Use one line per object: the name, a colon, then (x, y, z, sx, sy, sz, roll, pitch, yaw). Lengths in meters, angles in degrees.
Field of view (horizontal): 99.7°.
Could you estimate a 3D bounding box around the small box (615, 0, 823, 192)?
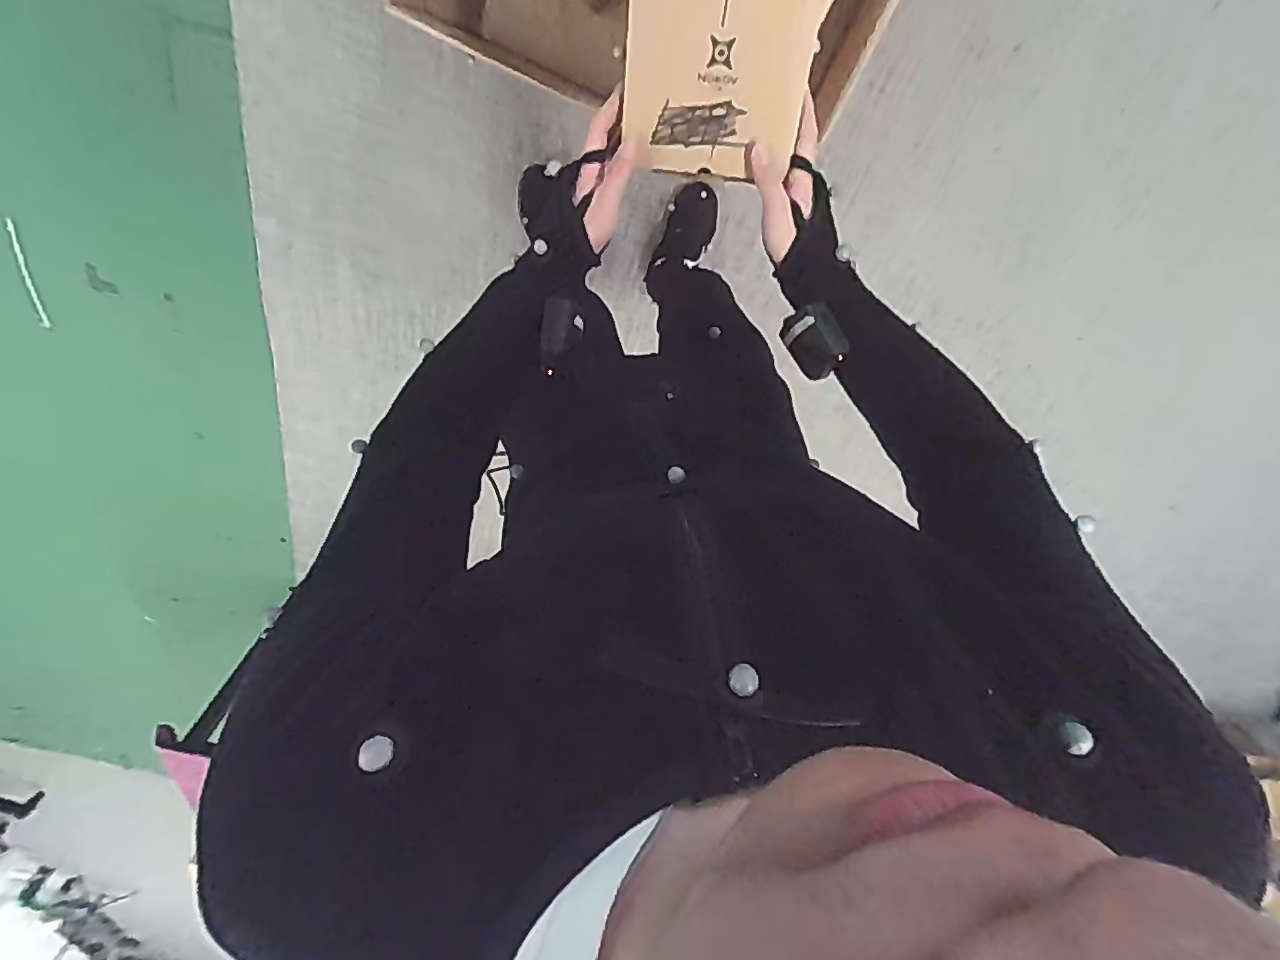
small box: (0.066, -0.401, 0.540, 0.168, 0.176, 0.179, 4, 122, -3)
